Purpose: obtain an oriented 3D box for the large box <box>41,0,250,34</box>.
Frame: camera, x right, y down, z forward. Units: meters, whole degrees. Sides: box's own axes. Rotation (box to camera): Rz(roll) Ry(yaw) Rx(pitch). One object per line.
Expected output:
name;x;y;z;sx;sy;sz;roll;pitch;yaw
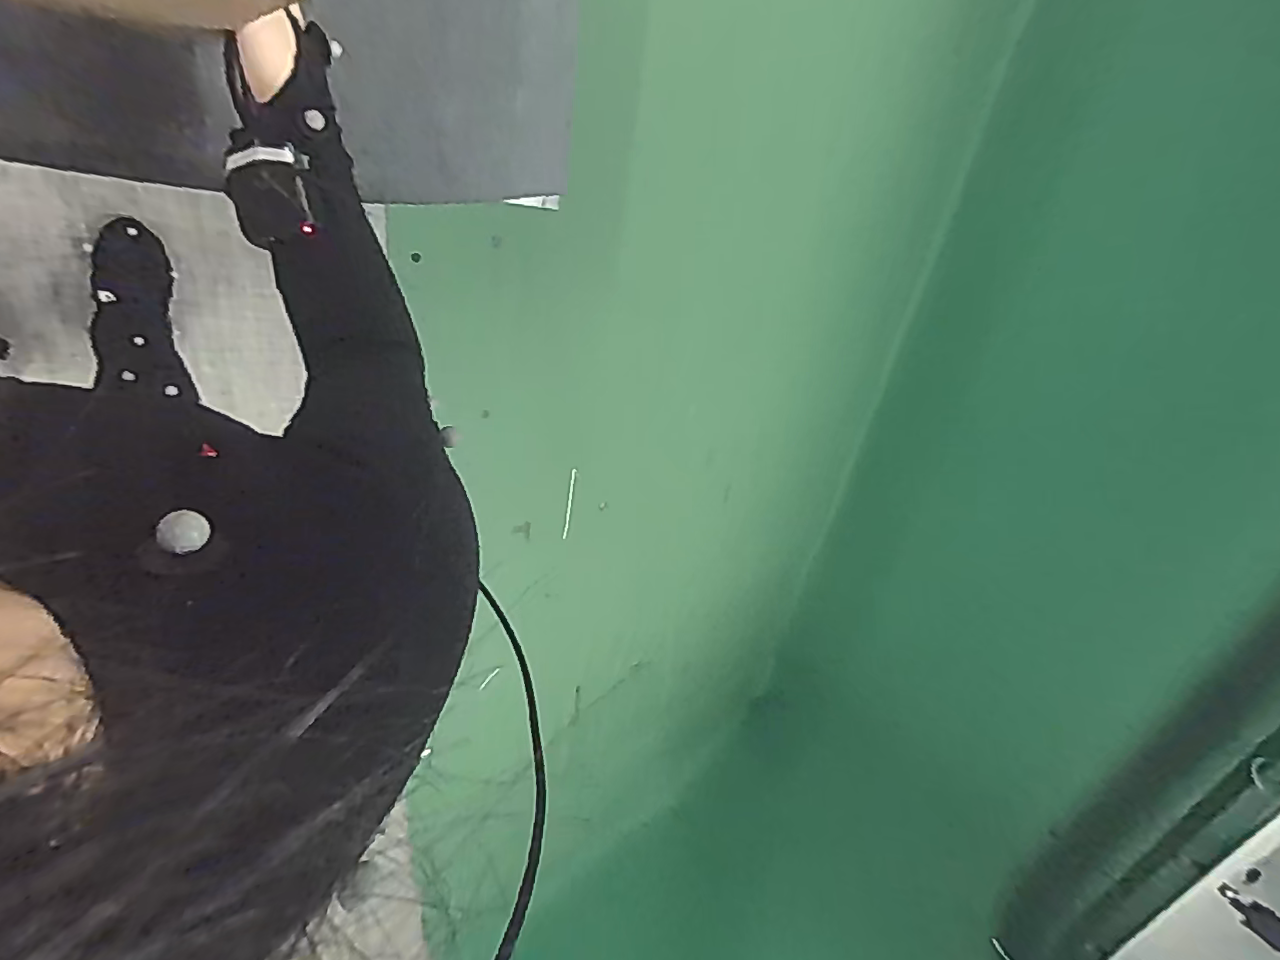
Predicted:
large box;-0.407;-0.407;0.179;0.408;0.320;0.320;-17;128;-41
